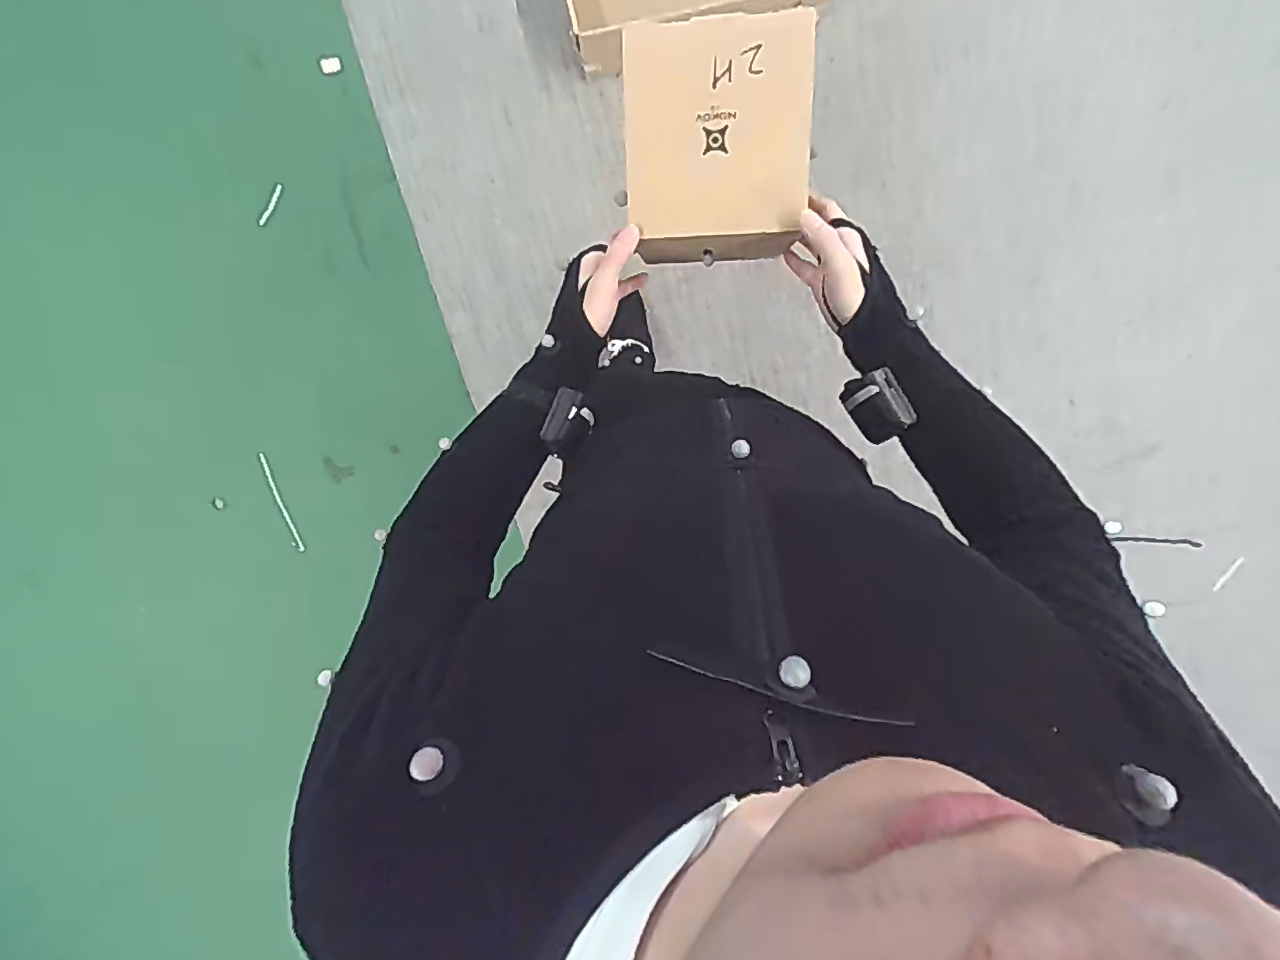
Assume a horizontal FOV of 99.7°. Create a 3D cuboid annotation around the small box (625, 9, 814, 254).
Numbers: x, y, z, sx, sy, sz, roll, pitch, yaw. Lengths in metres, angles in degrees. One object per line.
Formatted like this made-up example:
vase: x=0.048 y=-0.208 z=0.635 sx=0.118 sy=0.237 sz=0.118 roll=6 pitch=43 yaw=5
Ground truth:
small box: x=0.076 y=-0.338 z=0.565 sx=0.168 sy=0.176 sz=0.179 roll=0 pitch=104 yaw=5
